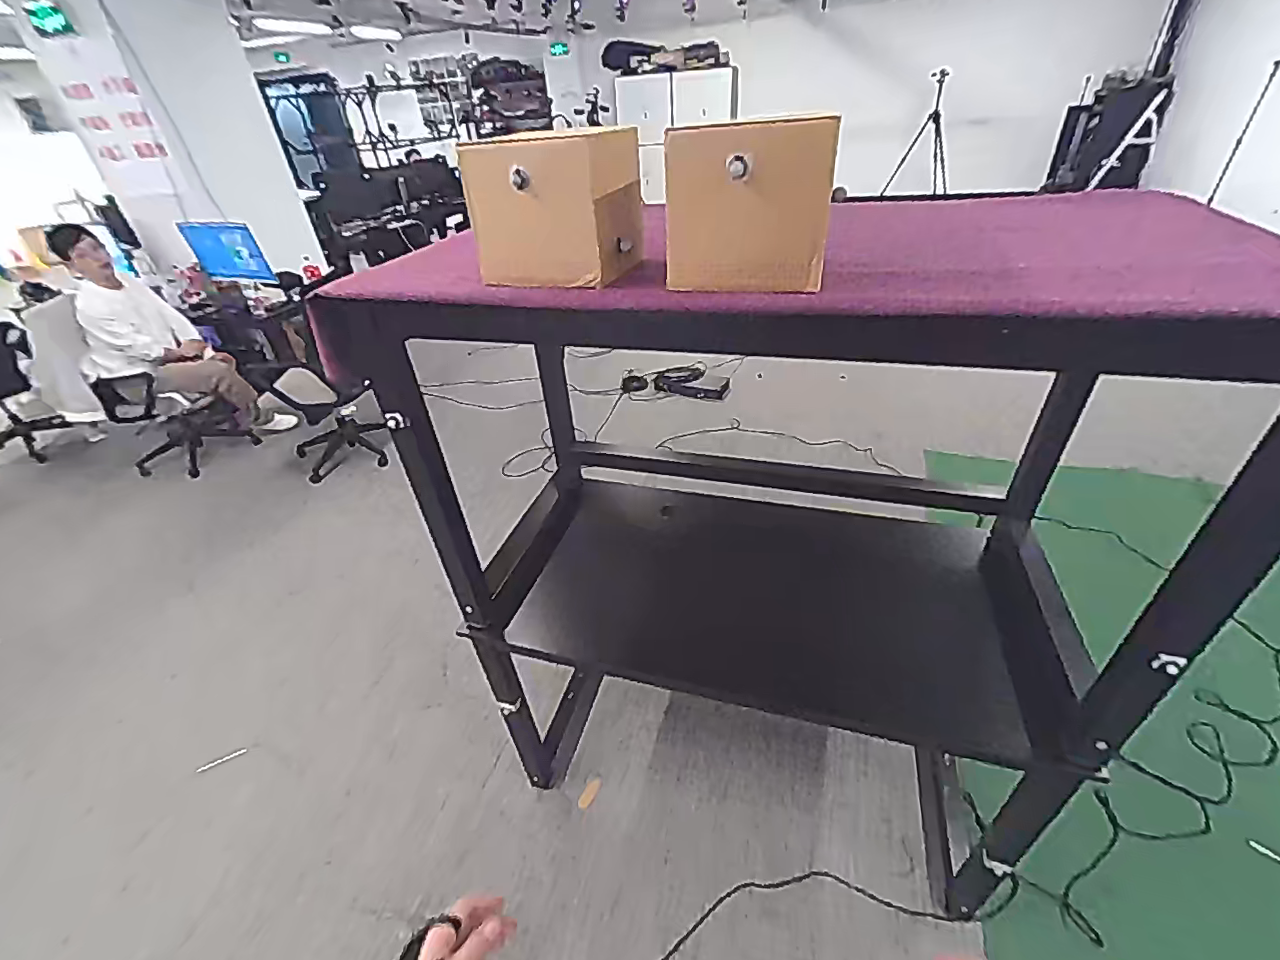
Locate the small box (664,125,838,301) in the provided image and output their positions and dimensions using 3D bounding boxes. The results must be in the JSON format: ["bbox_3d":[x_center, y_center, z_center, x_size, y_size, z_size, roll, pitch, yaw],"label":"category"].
[{"bbox_3d":[0.137,-0.321,0.655,0.179,0.176,0.168,6,35,17],"label":"small box"}]

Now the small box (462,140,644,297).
[{"bbox_3d":[-0.104,-0.352,0.729,0.179,0.176,0.168,9,36,18],"label":"small box"}]
